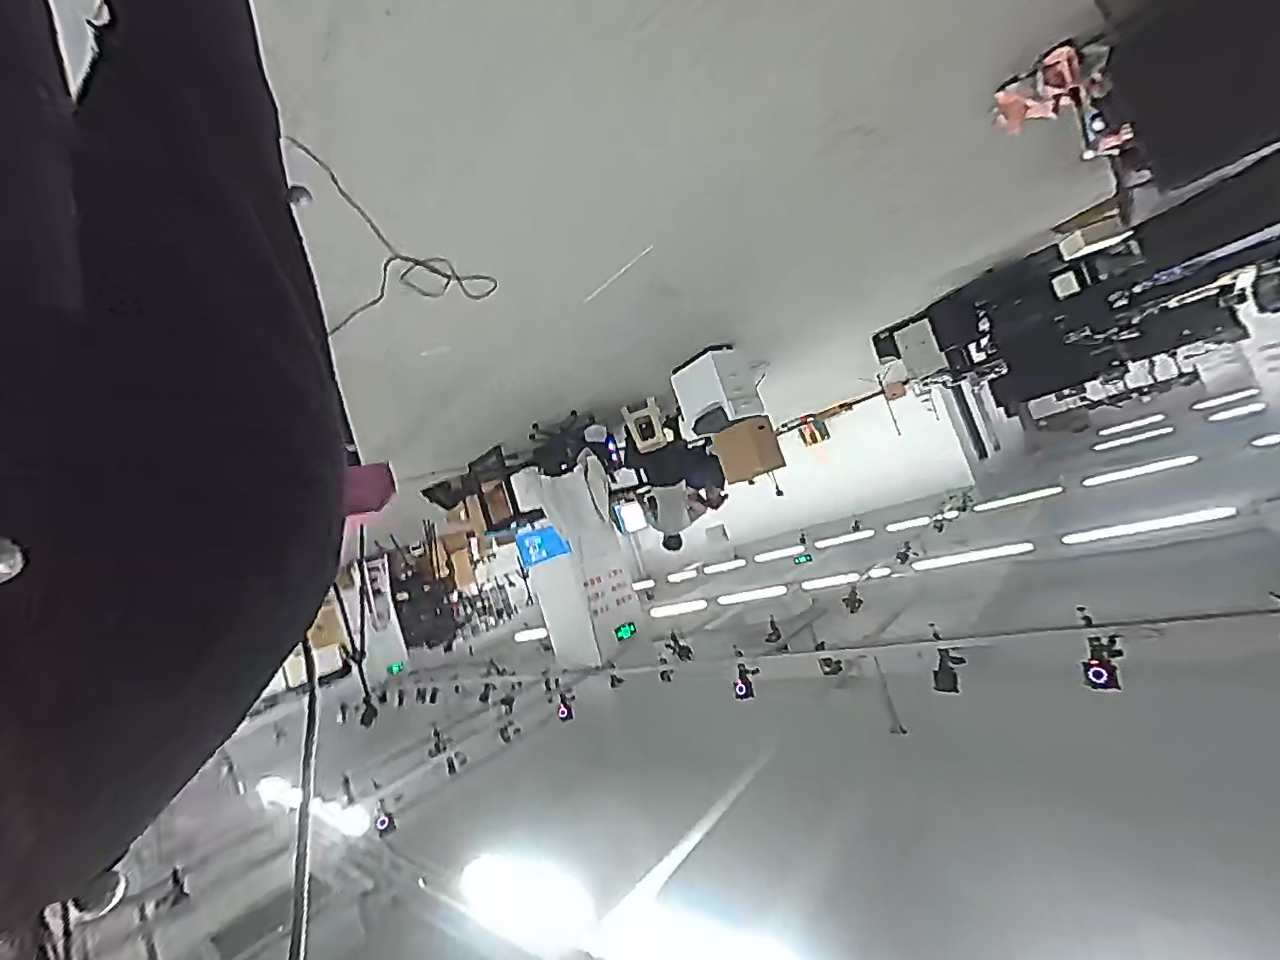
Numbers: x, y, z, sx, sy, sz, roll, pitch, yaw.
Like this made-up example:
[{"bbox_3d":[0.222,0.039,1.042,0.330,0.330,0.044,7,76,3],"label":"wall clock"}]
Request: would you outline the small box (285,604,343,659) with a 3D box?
[{"bbox_3d":[-1.336,0.615,2.207,0.168,0.176,0.179,-14,174,-37],"label":"small box"}]
